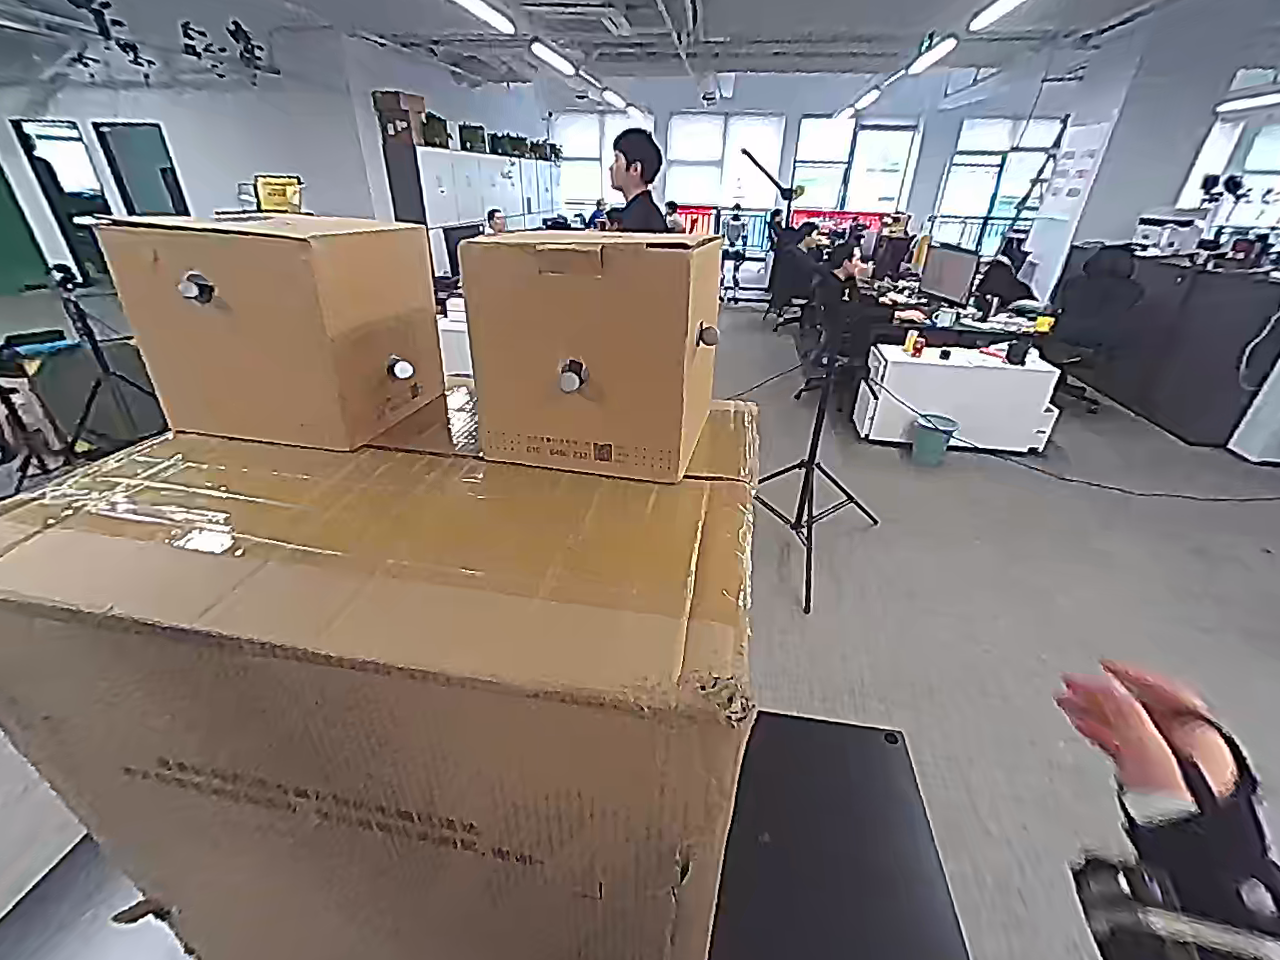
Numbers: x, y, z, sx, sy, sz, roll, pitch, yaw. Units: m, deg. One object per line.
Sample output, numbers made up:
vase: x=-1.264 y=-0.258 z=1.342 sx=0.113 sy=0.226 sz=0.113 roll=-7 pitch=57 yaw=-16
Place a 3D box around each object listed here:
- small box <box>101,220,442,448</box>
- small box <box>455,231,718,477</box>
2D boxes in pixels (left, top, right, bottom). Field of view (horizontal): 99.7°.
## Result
small box: x=-0.305 y=-0.139 z=0.493 sx=0.179 sy=0.176 sz=0.168 roll=7 pitch=28 yaw=7
small box: x=-0.029 y=-0.115 z=0.461 sx=0.168 sy=0.176 sz=0.179 roll=7 pitch=28 yaw=11
